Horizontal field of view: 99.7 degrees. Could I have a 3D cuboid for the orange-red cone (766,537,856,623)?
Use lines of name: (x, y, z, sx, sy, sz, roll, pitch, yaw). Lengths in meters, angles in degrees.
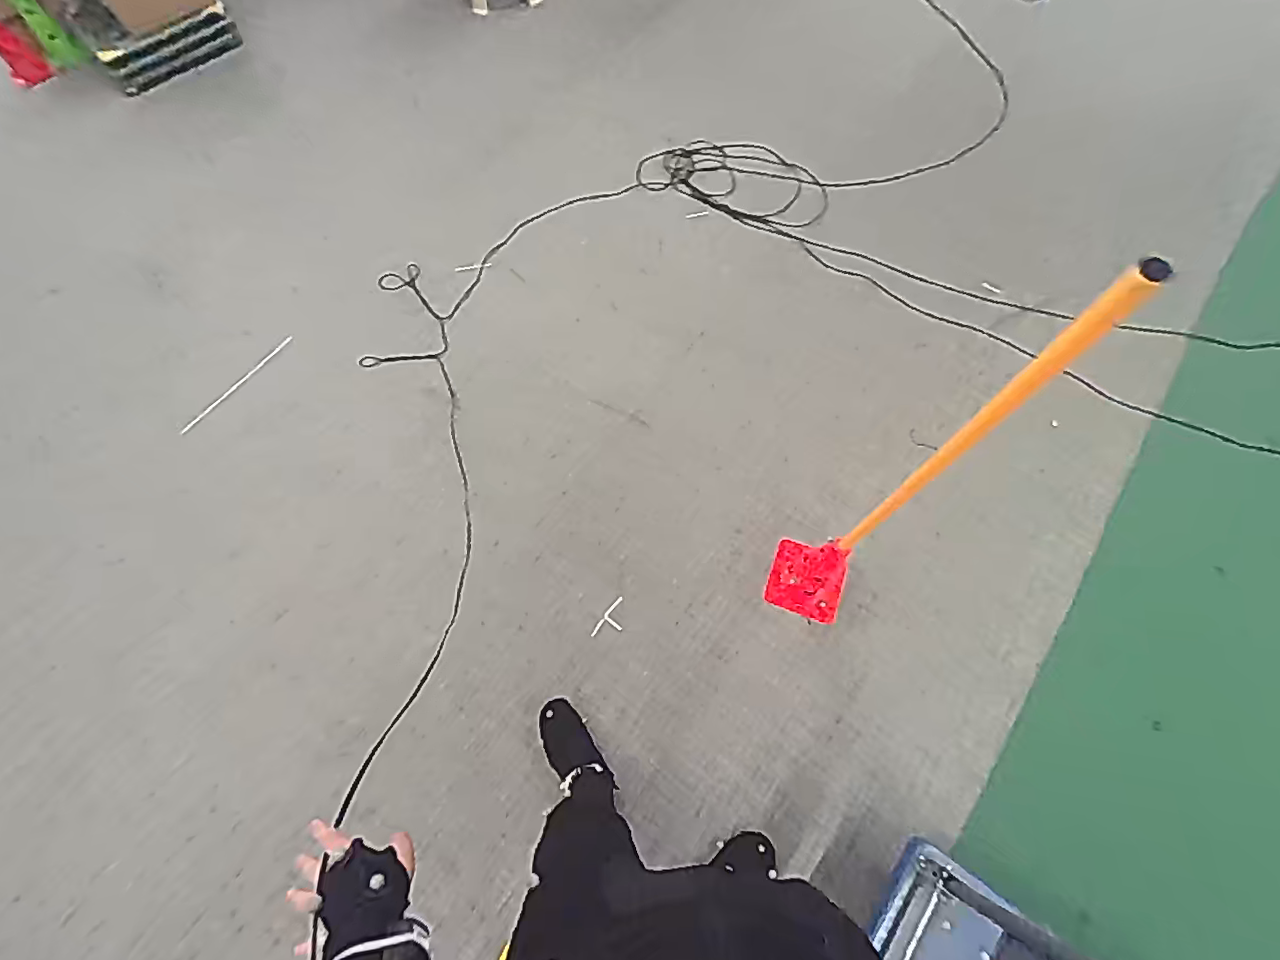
orange-red cone: (0.465, 0.211, 1.359, 0.198, 0.360, 0.199, 20, 68, 10)
